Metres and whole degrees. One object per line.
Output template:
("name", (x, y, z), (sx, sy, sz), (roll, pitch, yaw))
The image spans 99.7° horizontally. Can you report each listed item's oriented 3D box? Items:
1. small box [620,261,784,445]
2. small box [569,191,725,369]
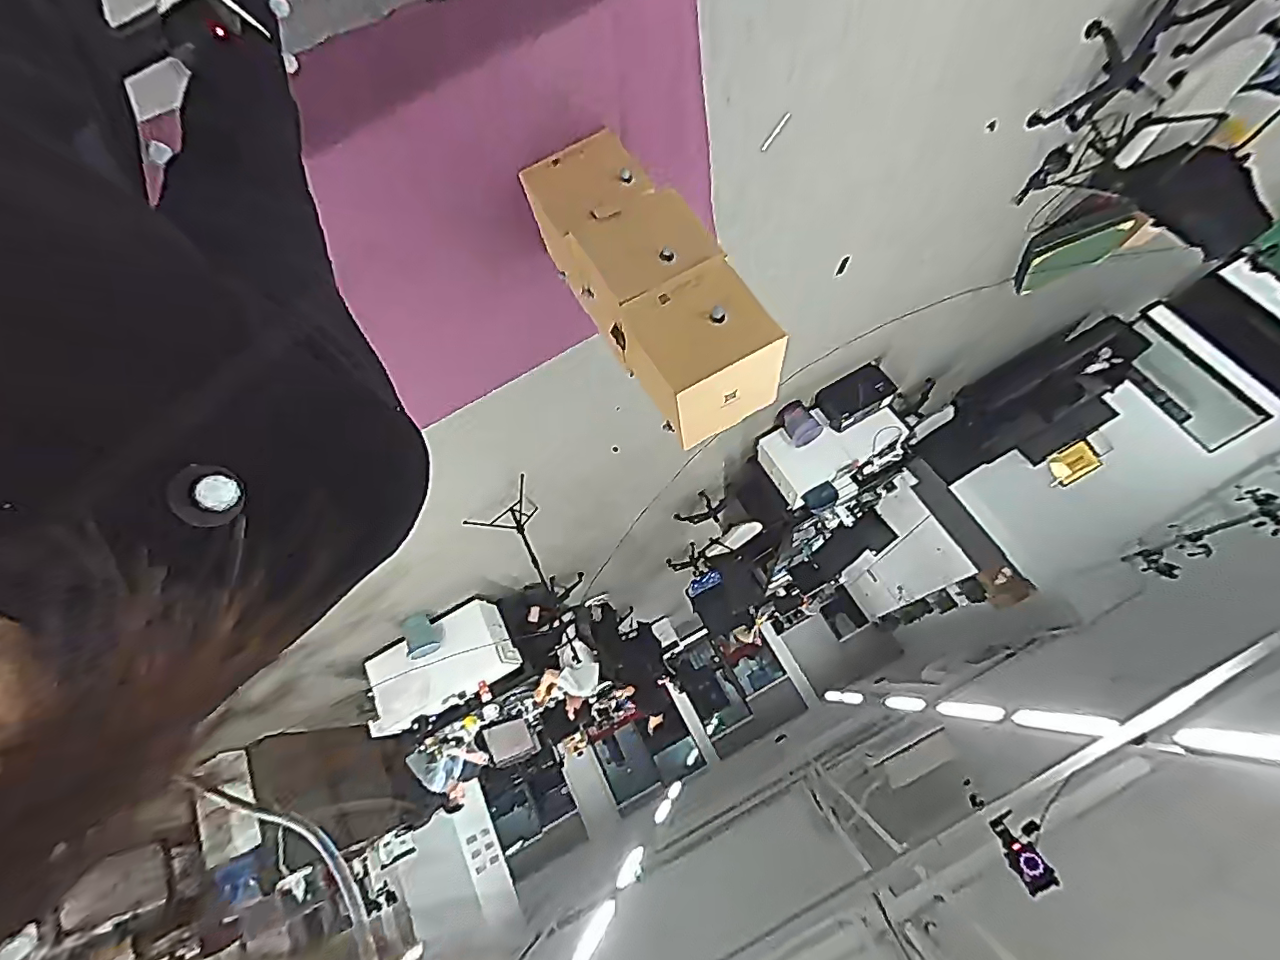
("small box", (0.086, -0.188, 0.789), (0.168, 0.176, 0.179), (-30, 159, -3))
("small box", (0.010, -0.316, 0.854), (0.179, 0.176, 0.168), (-27, 157, -9))
